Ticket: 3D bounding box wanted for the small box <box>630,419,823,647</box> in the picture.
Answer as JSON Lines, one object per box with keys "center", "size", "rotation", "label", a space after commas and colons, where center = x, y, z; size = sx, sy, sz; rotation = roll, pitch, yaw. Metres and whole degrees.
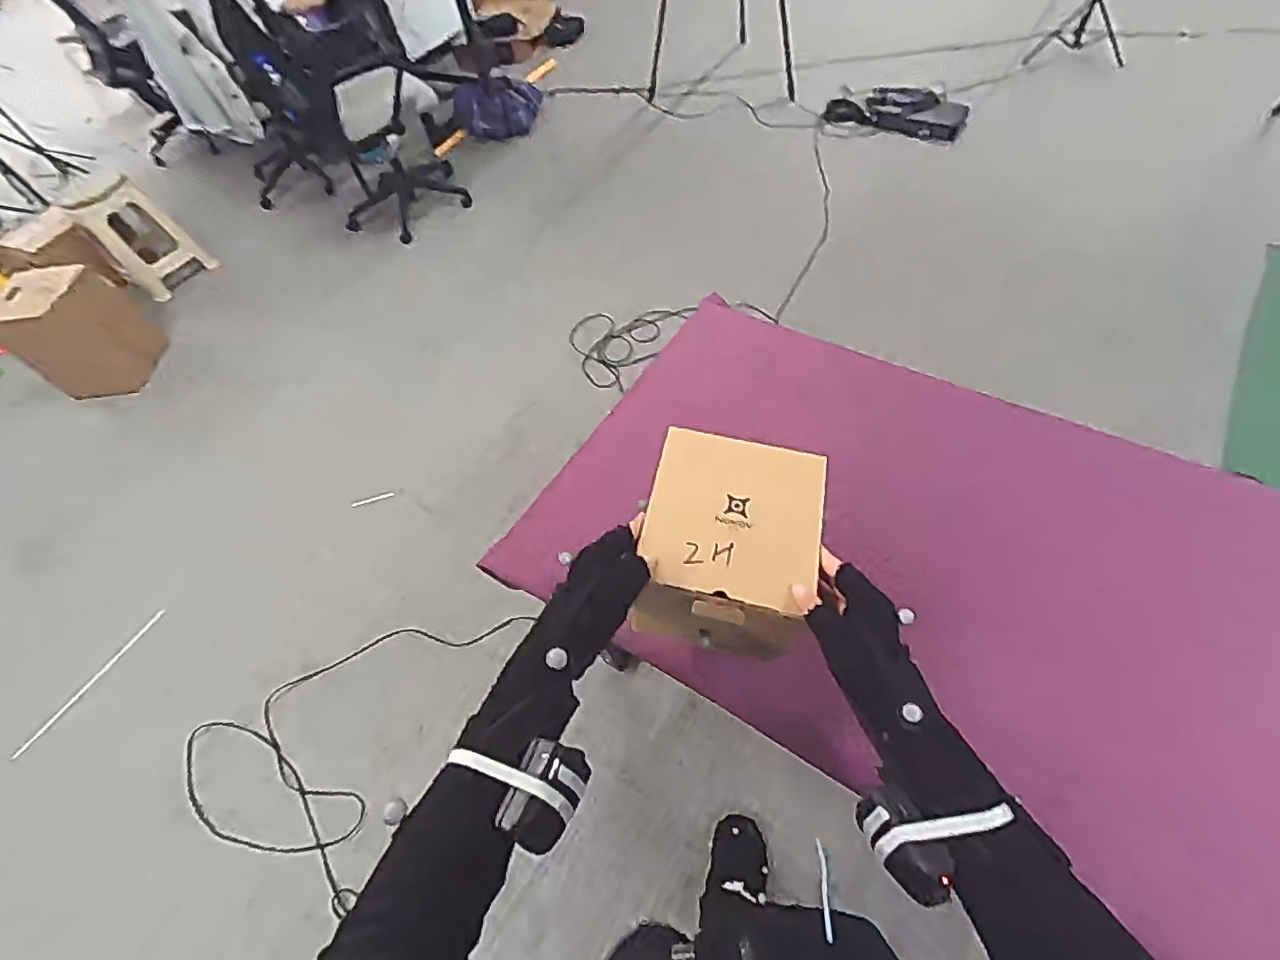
{"center": [0.089, 0.063, 0.593], "size": [0.168, 0.176, 0.179], "rotation": [12, 61, 8], "label": "small box"}
